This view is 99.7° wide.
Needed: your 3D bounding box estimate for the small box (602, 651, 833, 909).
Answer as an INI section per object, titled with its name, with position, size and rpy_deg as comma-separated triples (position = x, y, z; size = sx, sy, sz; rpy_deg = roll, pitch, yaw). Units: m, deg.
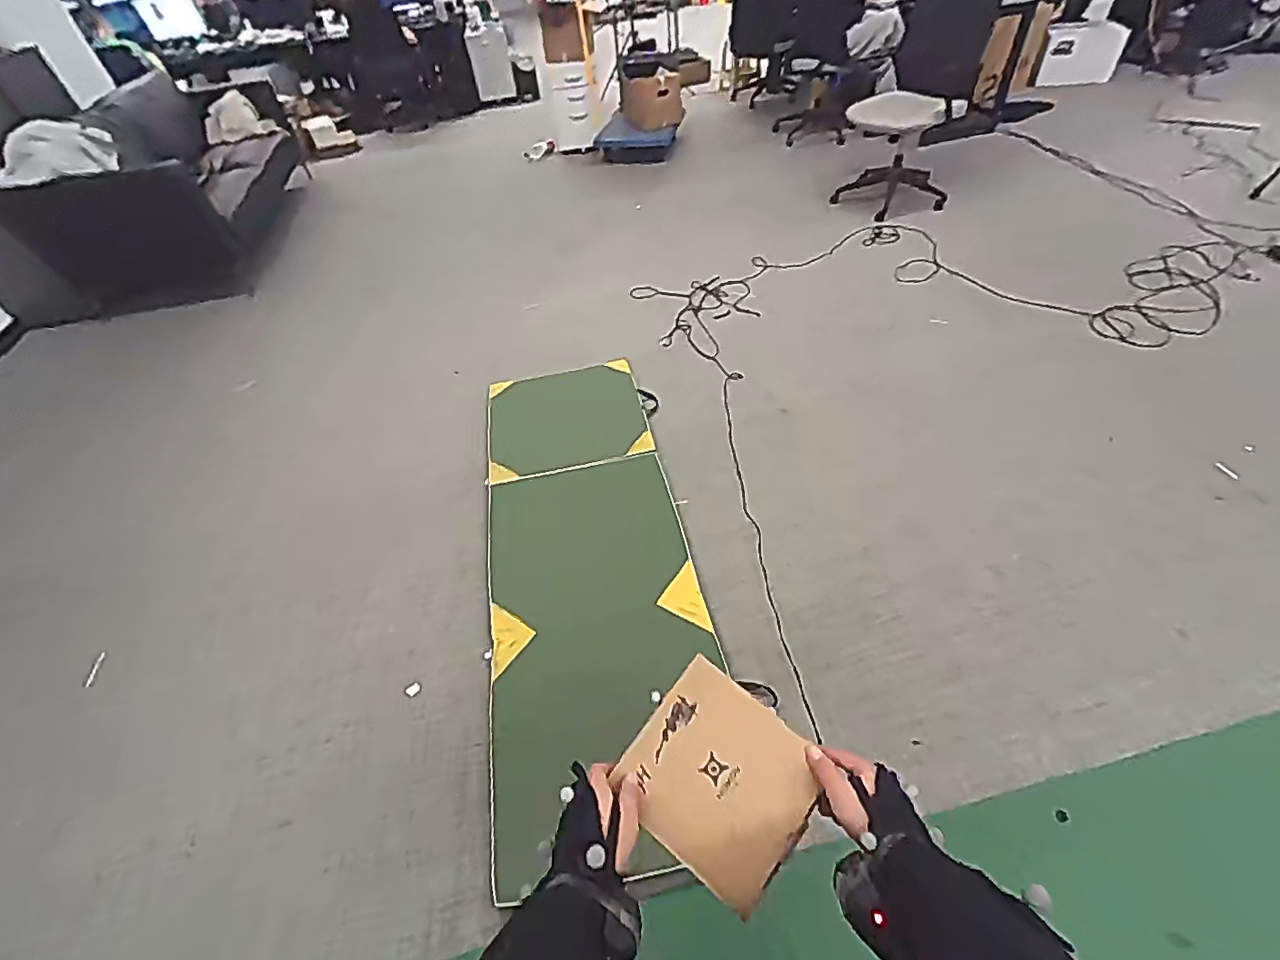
[small box]
position = 0.081, 0.321, 0.615
size = 0.179, 0.176, 0.168
rpy_deg = 36, 72, 17
